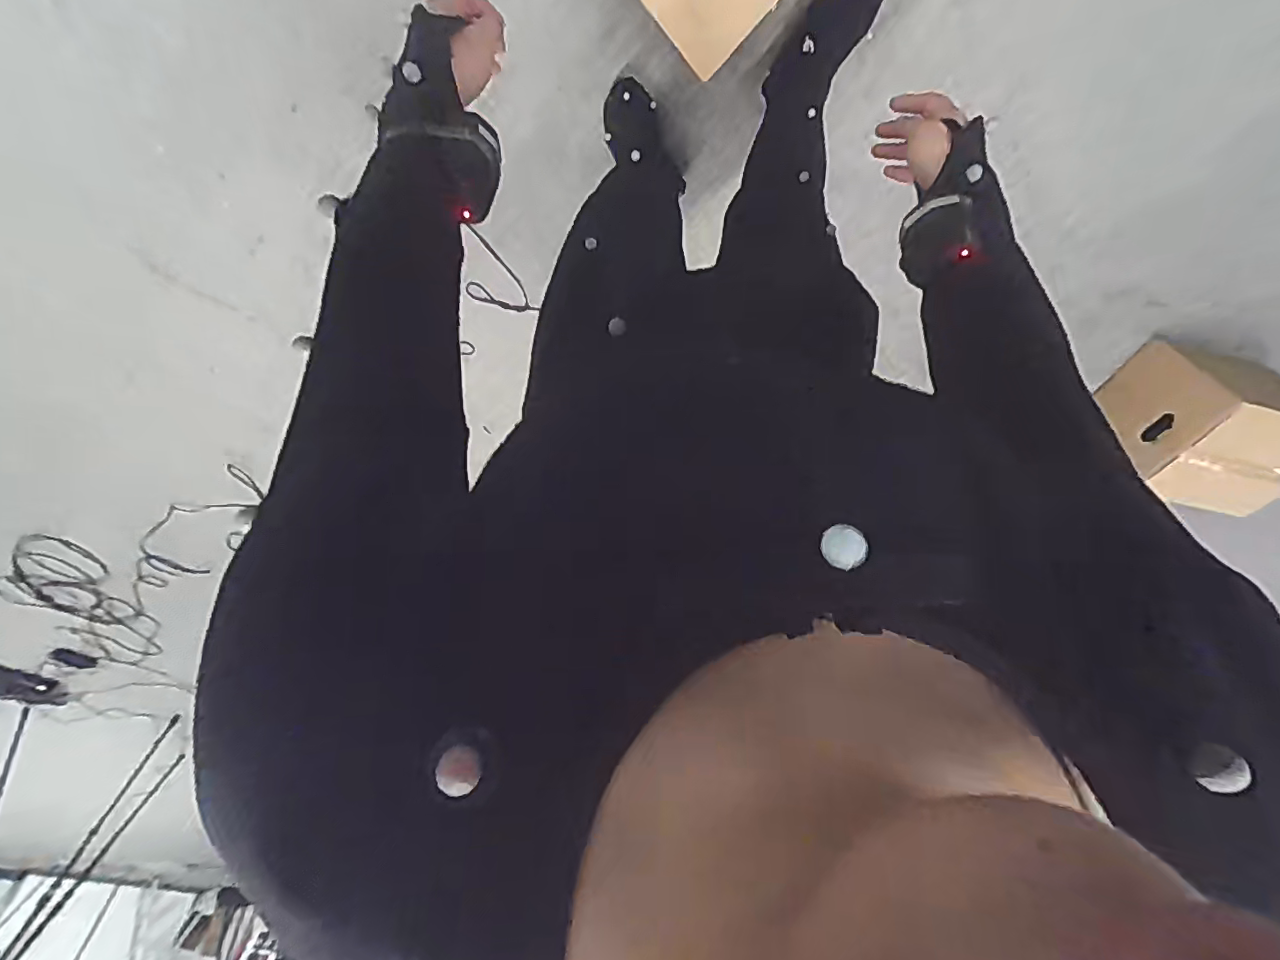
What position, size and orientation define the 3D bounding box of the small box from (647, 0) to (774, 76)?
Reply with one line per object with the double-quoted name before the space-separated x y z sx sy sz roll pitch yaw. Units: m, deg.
"small box" 0.100 -0.738 0.776 0.168 0.176 0.179 35 126 -29
